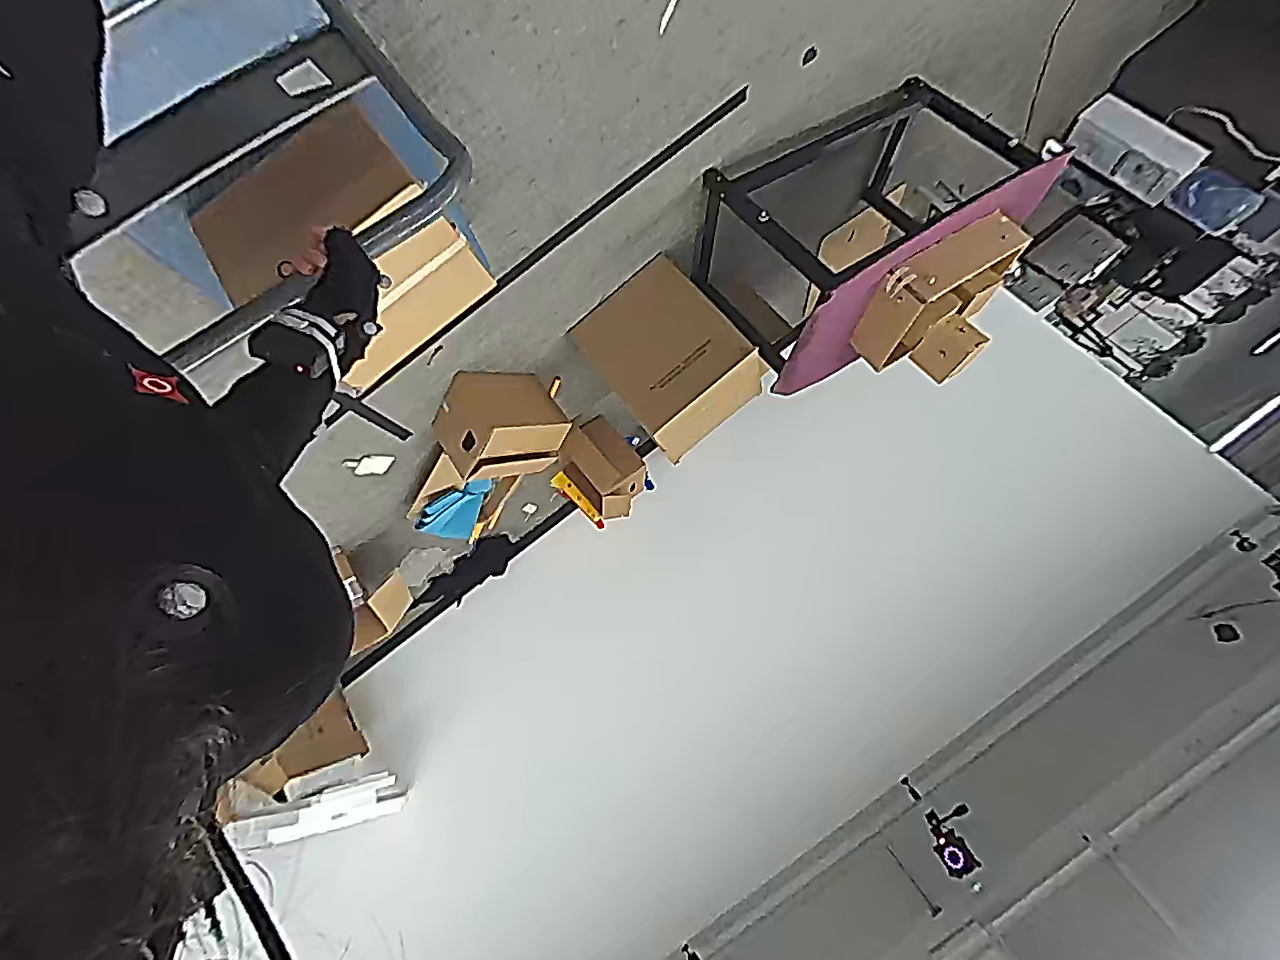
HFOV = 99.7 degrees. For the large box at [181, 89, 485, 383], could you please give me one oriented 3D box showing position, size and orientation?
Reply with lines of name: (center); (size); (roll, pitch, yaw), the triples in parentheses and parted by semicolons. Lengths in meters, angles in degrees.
large box: (-0.620, -0.489, 1.134); (0.408, 0.320, 0.320); (-37, 161, 1)
